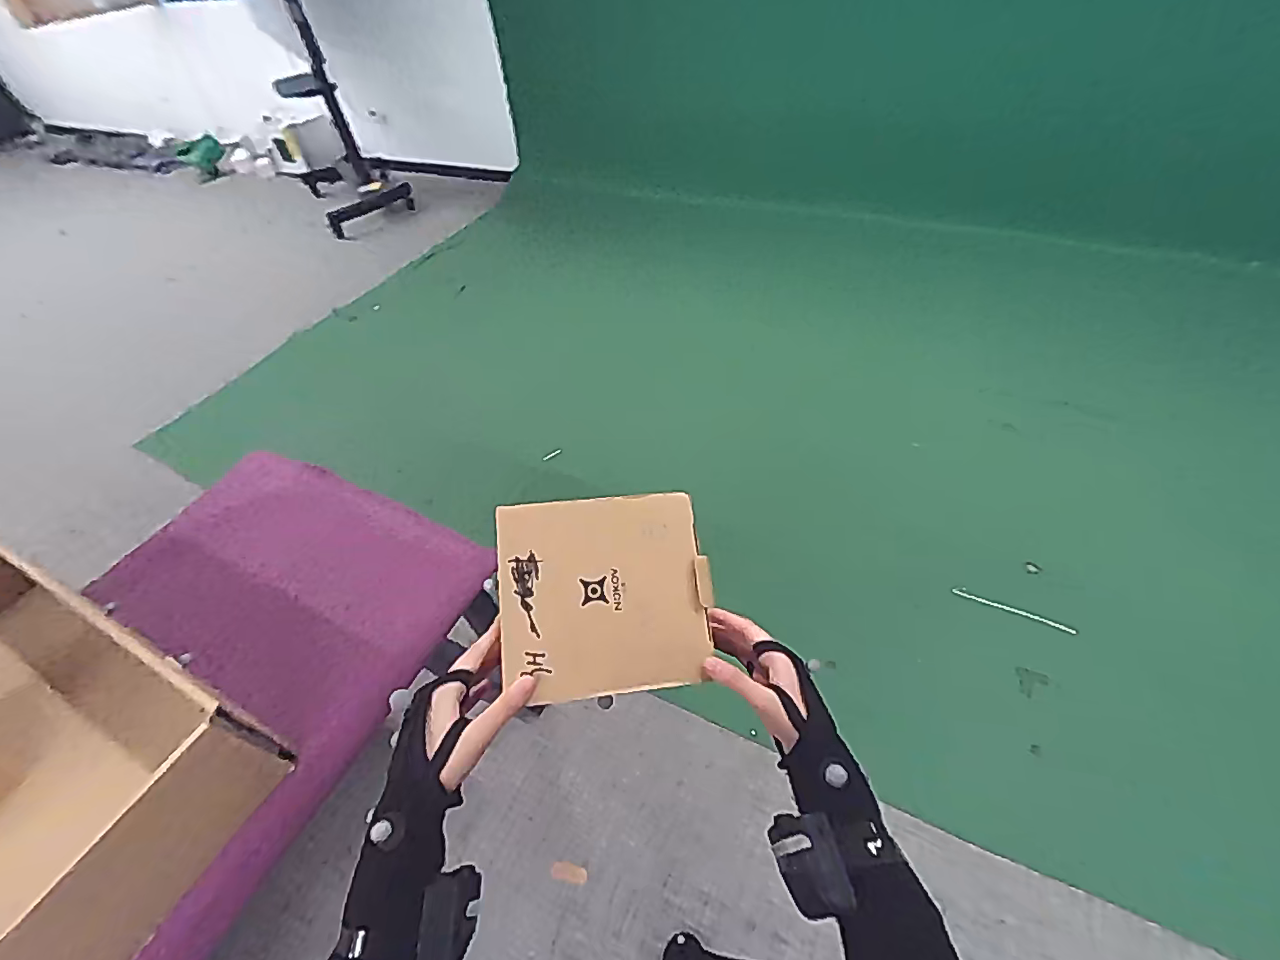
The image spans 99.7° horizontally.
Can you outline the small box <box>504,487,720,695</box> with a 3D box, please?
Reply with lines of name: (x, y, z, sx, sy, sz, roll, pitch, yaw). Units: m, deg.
small box: (-0.038, 0.112, 0.529, 0.179, 0.176, 0.168, -3, 71, -10)
